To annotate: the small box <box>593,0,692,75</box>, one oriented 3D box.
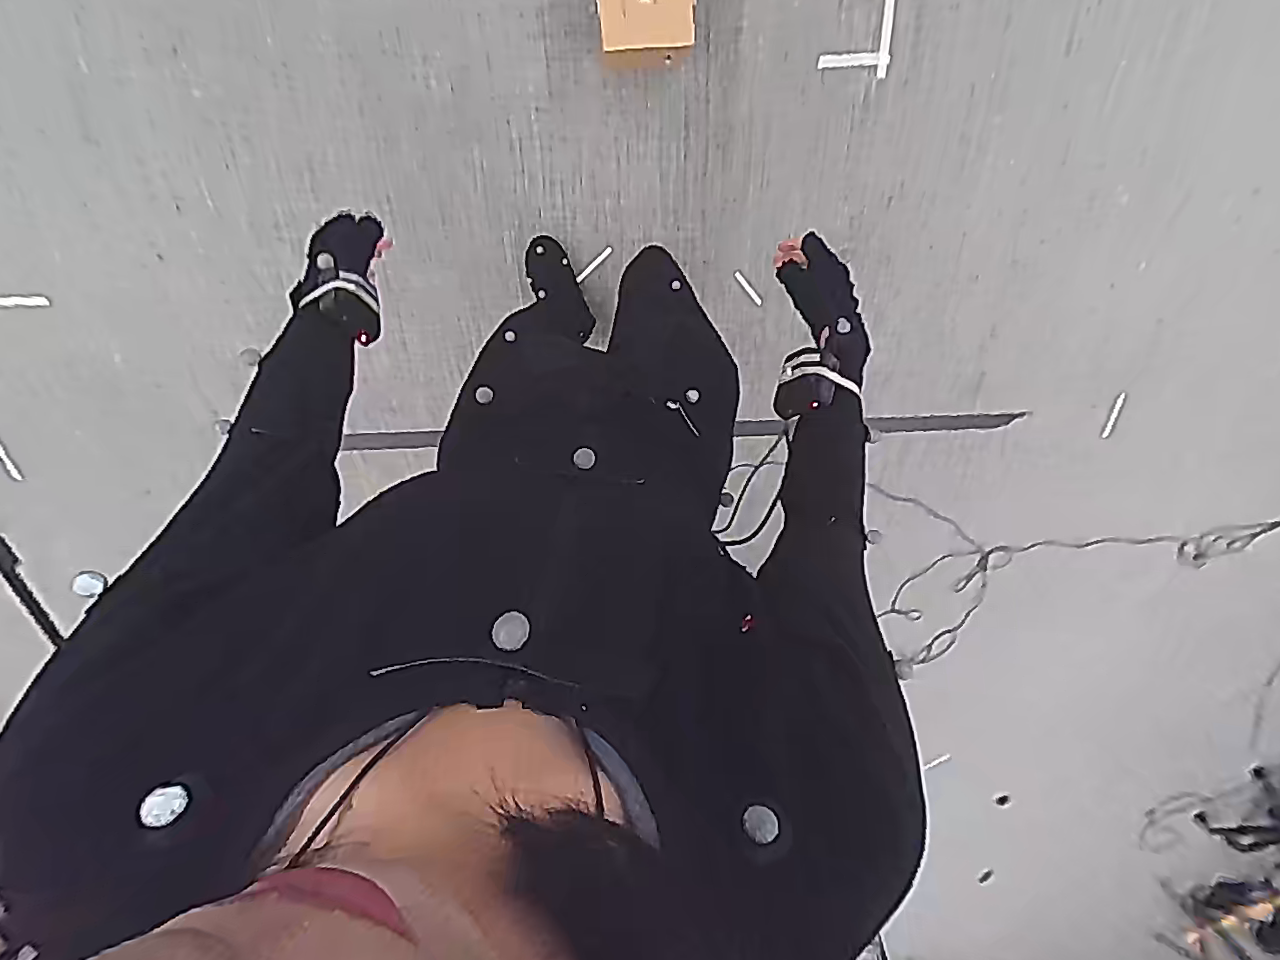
[{"bbox_3d":[0.001,-0.913,1.056,0.179,0.176,0.168,-6,117,-2],"label":"small box"}]
